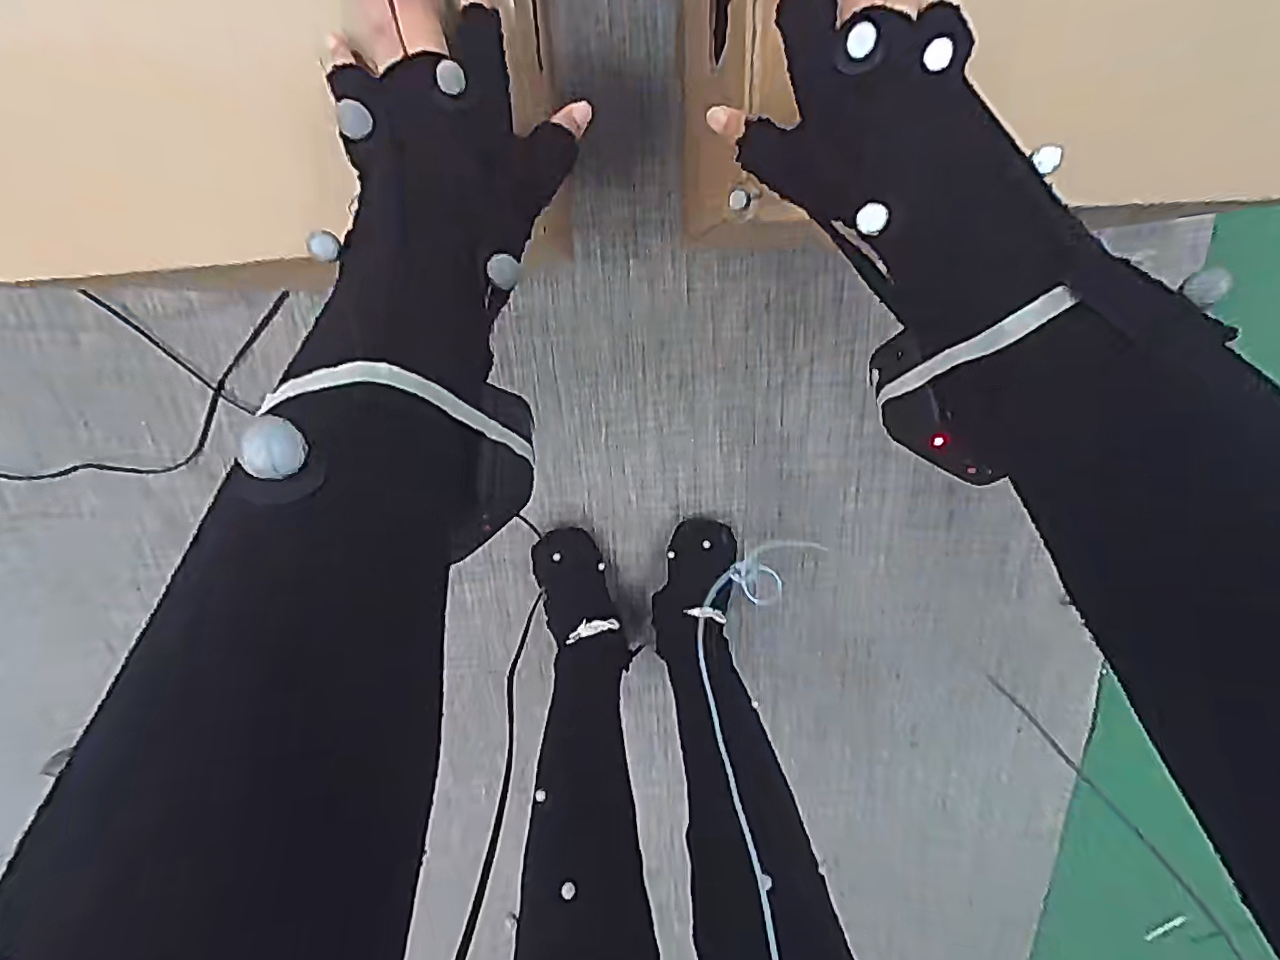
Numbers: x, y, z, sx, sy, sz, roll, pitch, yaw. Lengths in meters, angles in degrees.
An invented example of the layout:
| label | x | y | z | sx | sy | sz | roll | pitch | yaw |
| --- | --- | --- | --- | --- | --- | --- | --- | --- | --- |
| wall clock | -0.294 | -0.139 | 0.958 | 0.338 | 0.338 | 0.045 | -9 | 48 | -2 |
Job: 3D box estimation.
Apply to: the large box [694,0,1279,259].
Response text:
| label | x | y | z | sx | sy | sz | roll | pitch | yaw |
| --- | --- | --- | --- | --- | --- | --- | --- | --- | --- |
| large box | 0.264 | -0.370 | 0.467 | 0.408 | 0.320 | 0.320 | -3 | 109 | -1 |
